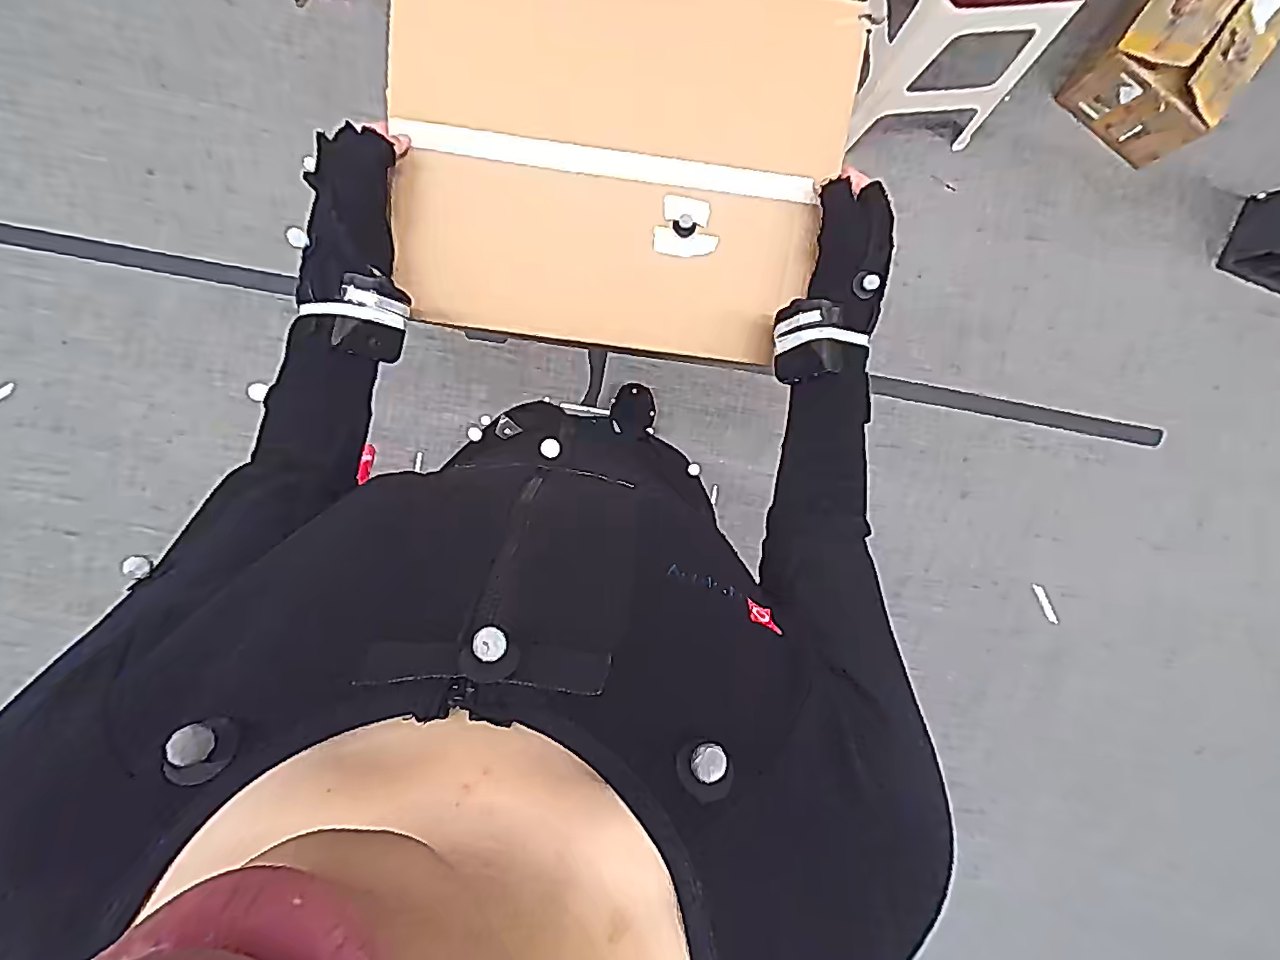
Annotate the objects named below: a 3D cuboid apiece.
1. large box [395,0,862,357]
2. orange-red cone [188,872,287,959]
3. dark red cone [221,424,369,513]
[{"bbox_3d":[-0.025,-0.324,0.633,0.408,0.320,0.320,6,102,-4],"label":"large box"},{"bbox_3d":[-1.111,1.243,1.377,0.198,0.360,0.199,8,97,-2],"label":"orange-red cone"},{"bbox_3d":[-0.806,-0.014,1.238,0.201,0.394,0.202,16,95,-5],"label":"dark red cone"}]
